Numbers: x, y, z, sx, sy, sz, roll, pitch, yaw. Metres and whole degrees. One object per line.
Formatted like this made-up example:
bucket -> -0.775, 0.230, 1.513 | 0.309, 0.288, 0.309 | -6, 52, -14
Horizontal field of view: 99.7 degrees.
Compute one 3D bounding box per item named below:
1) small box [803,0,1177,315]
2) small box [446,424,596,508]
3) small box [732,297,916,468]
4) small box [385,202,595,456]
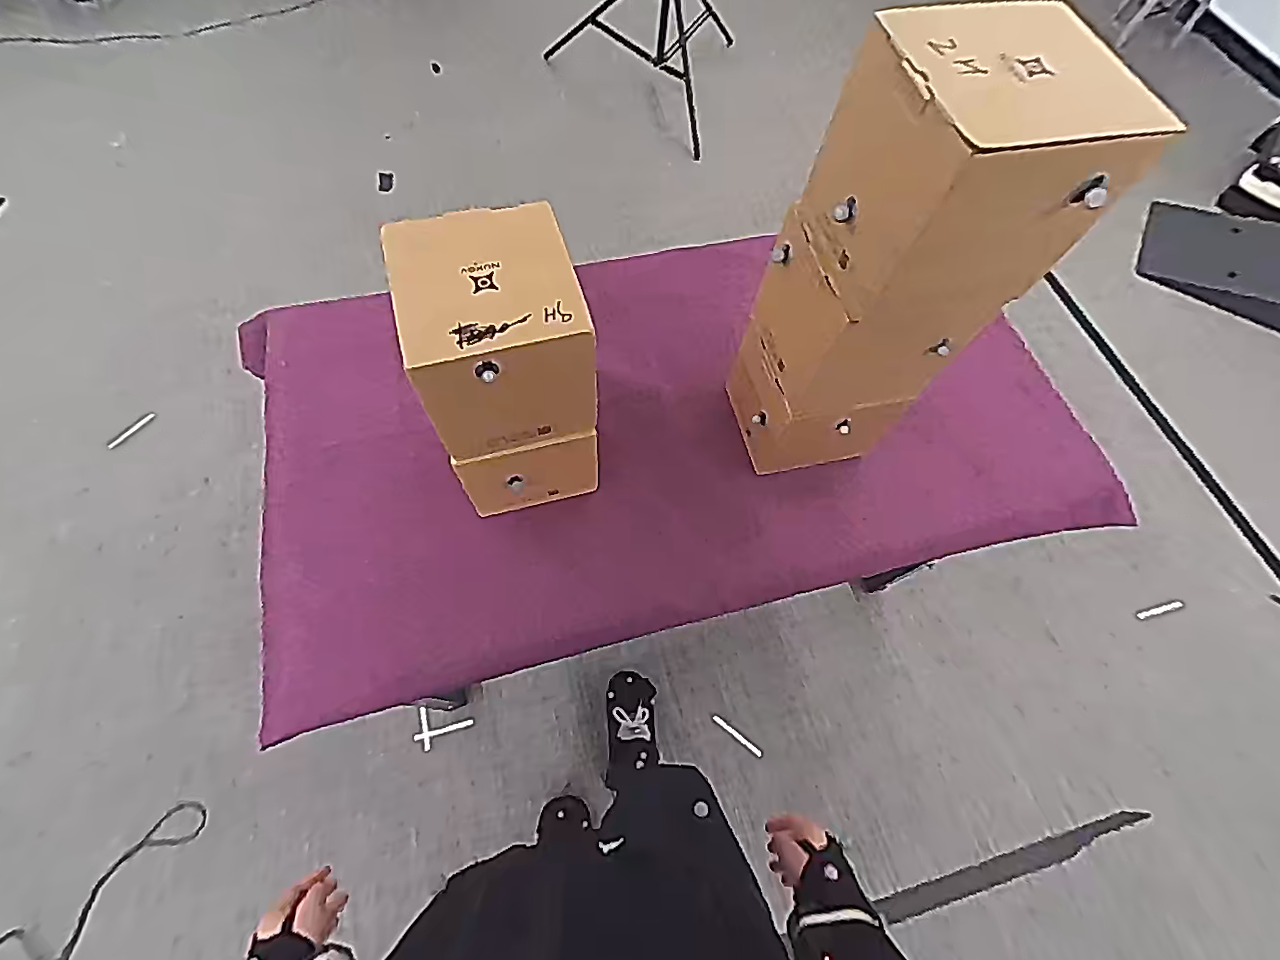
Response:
small box -> 0.271, -0.269, 0.468 | 0.179, 0.176, 0.168 | -11, 66, -9
small box -> -0.156, -0.076, 0.713 | 0.168, 0.176, 0.179 | -14, 66, -10
small box -> 0.240, -0.131, 0.766 | 0.179, 0.176, 0.168 | -11, 67, -9
small box -> -0.148, -0.152, 0.568 | 0.168, 0.176, 0.179 | -15, 66, -10
